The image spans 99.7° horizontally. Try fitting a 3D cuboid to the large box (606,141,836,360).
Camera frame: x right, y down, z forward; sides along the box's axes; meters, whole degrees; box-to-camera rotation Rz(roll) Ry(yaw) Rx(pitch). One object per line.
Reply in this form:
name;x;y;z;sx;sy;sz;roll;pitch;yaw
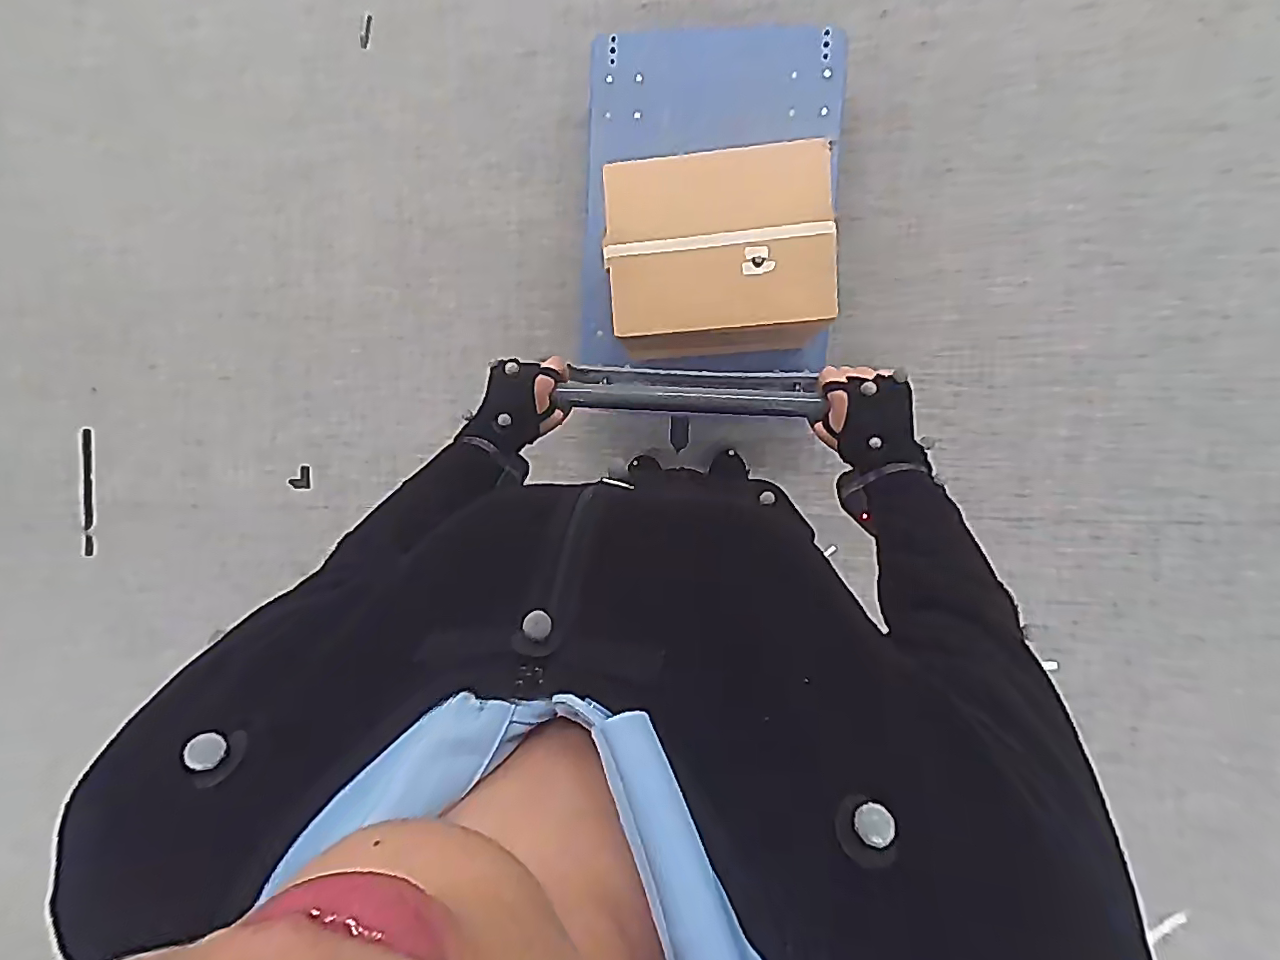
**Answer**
large box;0.158;-0.445;1.133;0.408;0.320;0.320;-4;95;5
